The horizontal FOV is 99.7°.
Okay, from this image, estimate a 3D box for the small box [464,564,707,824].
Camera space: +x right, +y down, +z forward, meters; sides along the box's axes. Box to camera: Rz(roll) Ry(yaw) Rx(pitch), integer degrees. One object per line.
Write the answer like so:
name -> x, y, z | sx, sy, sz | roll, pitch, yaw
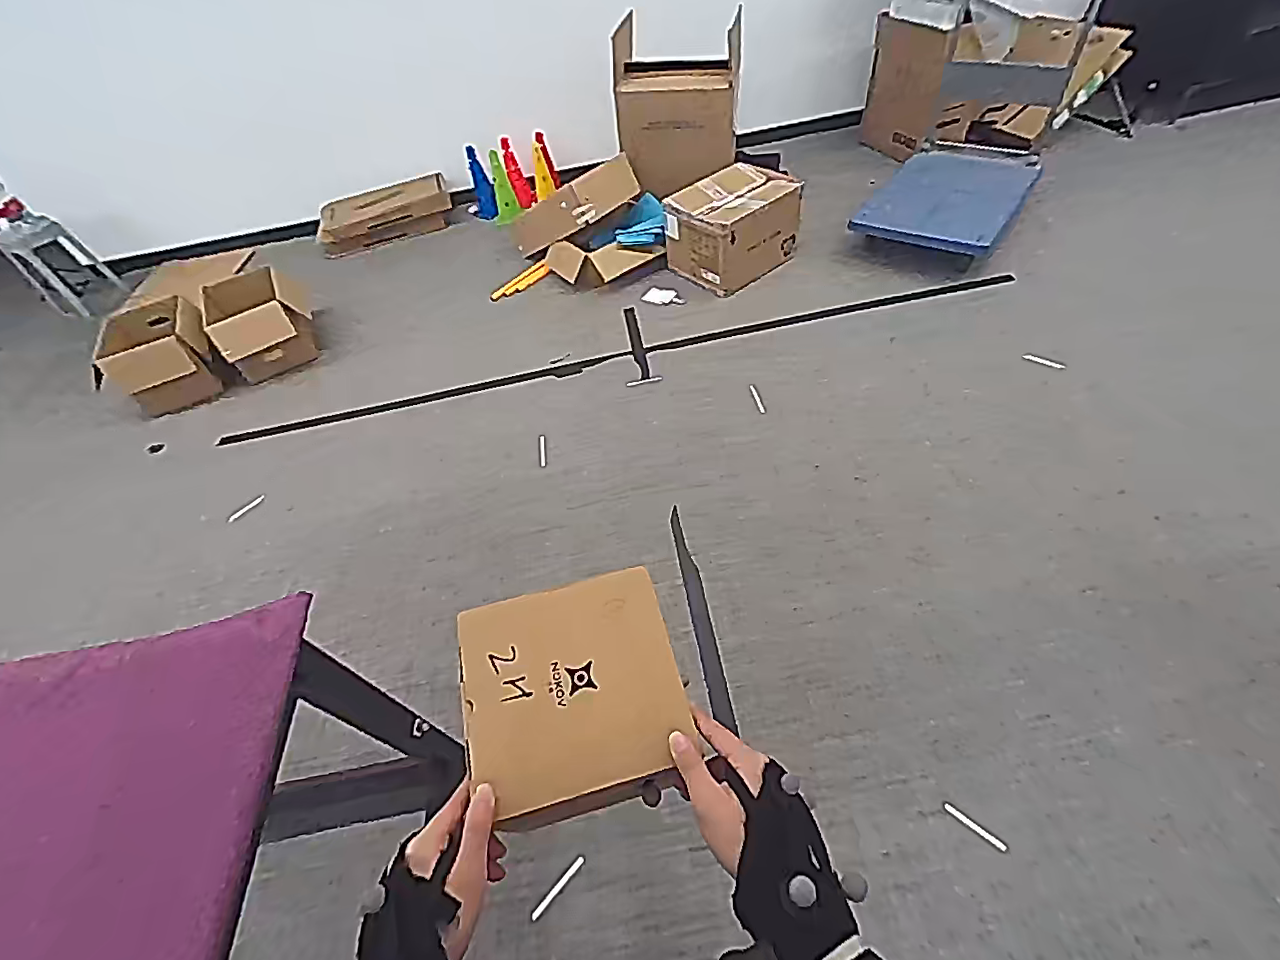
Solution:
small box -> -0.050, 0.203, 0.505 | 0.179, 0.176, 0.168 | -13, 56, -7
